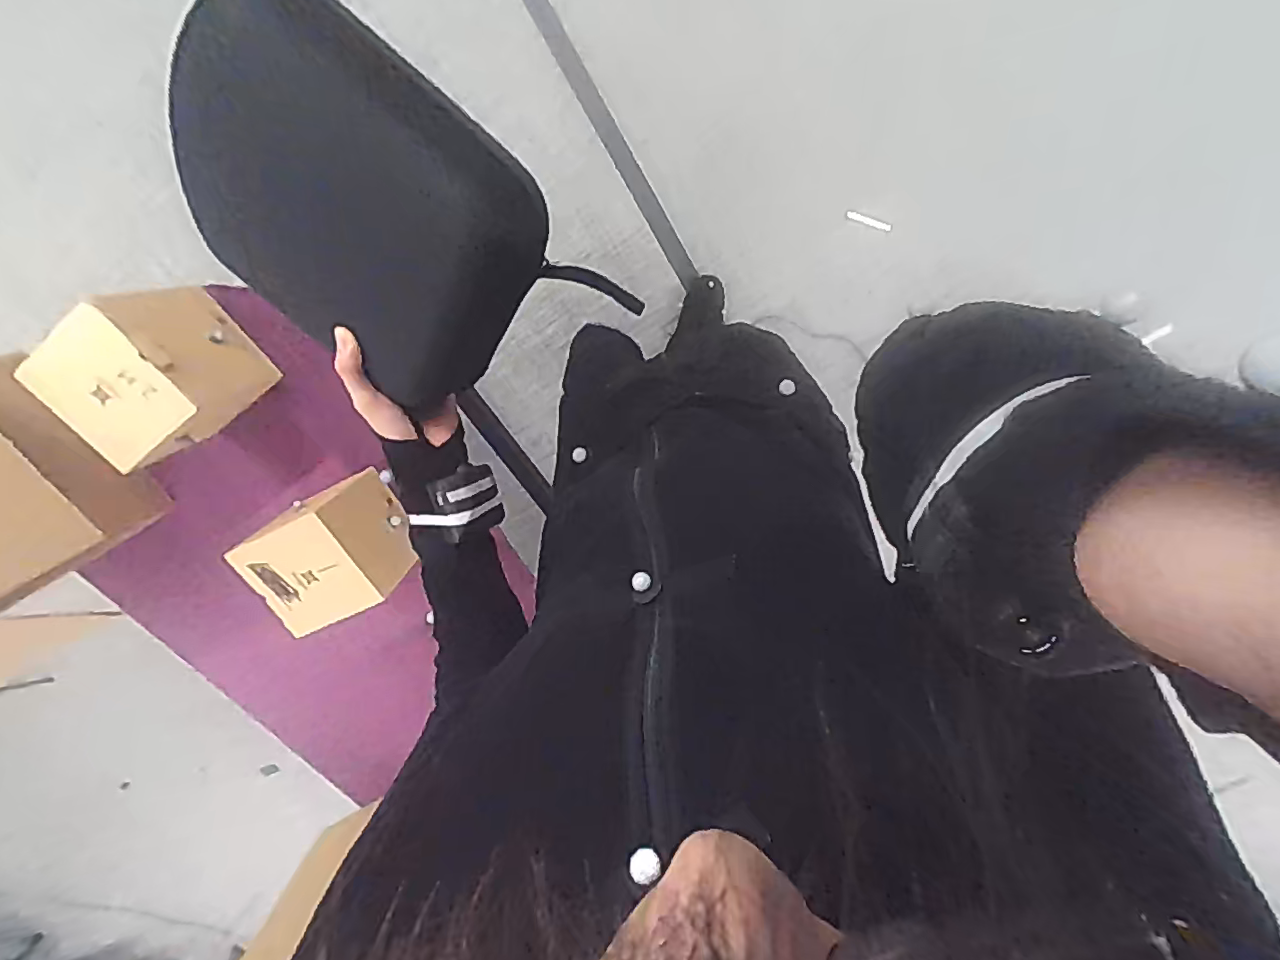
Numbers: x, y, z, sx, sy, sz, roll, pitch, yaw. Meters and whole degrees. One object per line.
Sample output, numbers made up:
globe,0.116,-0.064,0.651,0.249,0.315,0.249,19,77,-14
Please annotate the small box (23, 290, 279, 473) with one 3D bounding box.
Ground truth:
small box,-0.667,-0.144,0.761,0.179,0.176,0.168,-30,110,16

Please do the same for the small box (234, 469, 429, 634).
small box,-0.478,0.108,0.868,0.179,0.176,0.168,-24,111,13
